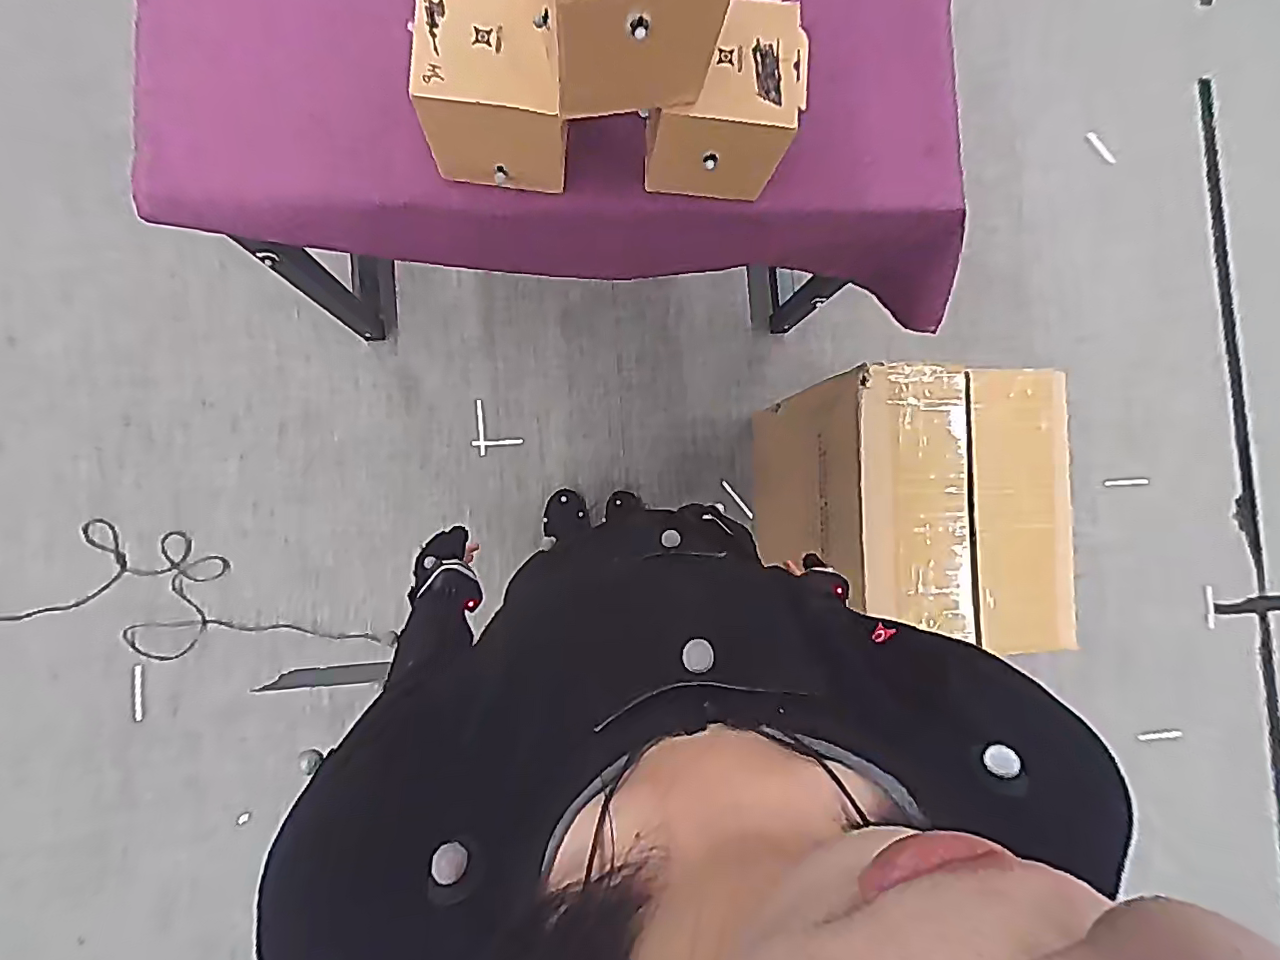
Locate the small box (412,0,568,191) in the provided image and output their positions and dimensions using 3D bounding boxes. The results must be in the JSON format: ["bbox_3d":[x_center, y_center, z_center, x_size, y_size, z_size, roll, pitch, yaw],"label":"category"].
[{"bbox_3d":[-0.184,-0.514,0.718,0.179,0.176,0.168,3,86,-7],"label":"small box"}]

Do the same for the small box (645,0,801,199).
[{"bbox_3d":[0.106,-0.519,0.752,0.179,0.176,0.168,2,86,-6],"label":"small box"}]

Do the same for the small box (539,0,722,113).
[{"bbox_3d":[-0.018,-0.528,0.574,0.179,0.176,0.168,-12,90,-8],"label":"small box"}]
